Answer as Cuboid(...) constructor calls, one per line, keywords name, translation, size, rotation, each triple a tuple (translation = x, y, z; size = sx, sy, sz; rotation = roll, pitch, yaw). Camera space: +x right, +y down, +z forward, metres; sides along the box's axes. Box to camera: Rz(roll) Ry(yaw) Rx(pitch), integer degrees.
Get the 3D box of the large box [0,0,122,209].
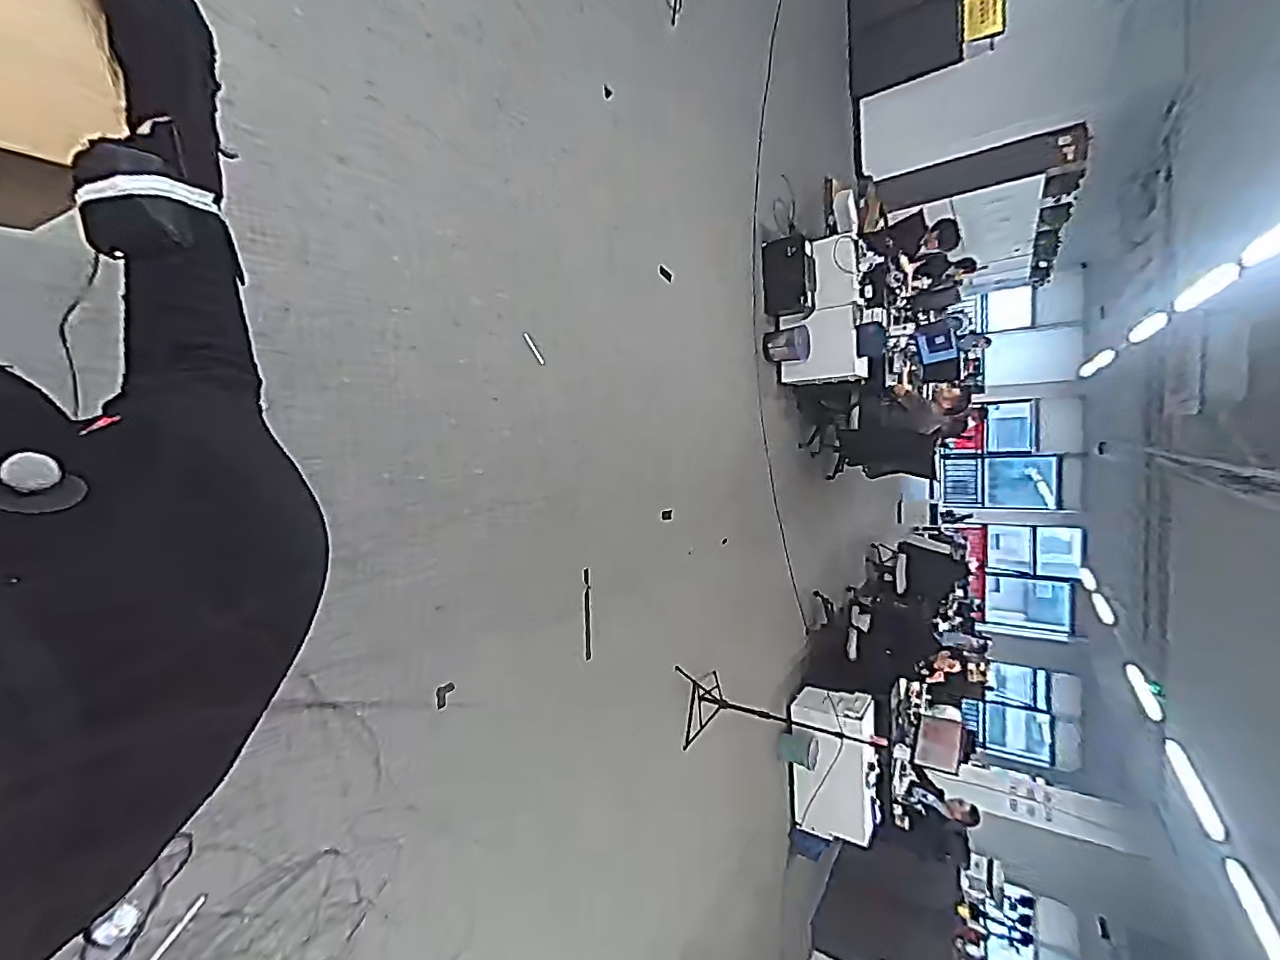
Cuboid(name="large box", translation=(-0.609, -0.381, 0.287), size=(0.408, 0.320, 0.320), rotation=(-11, 108, -57))
